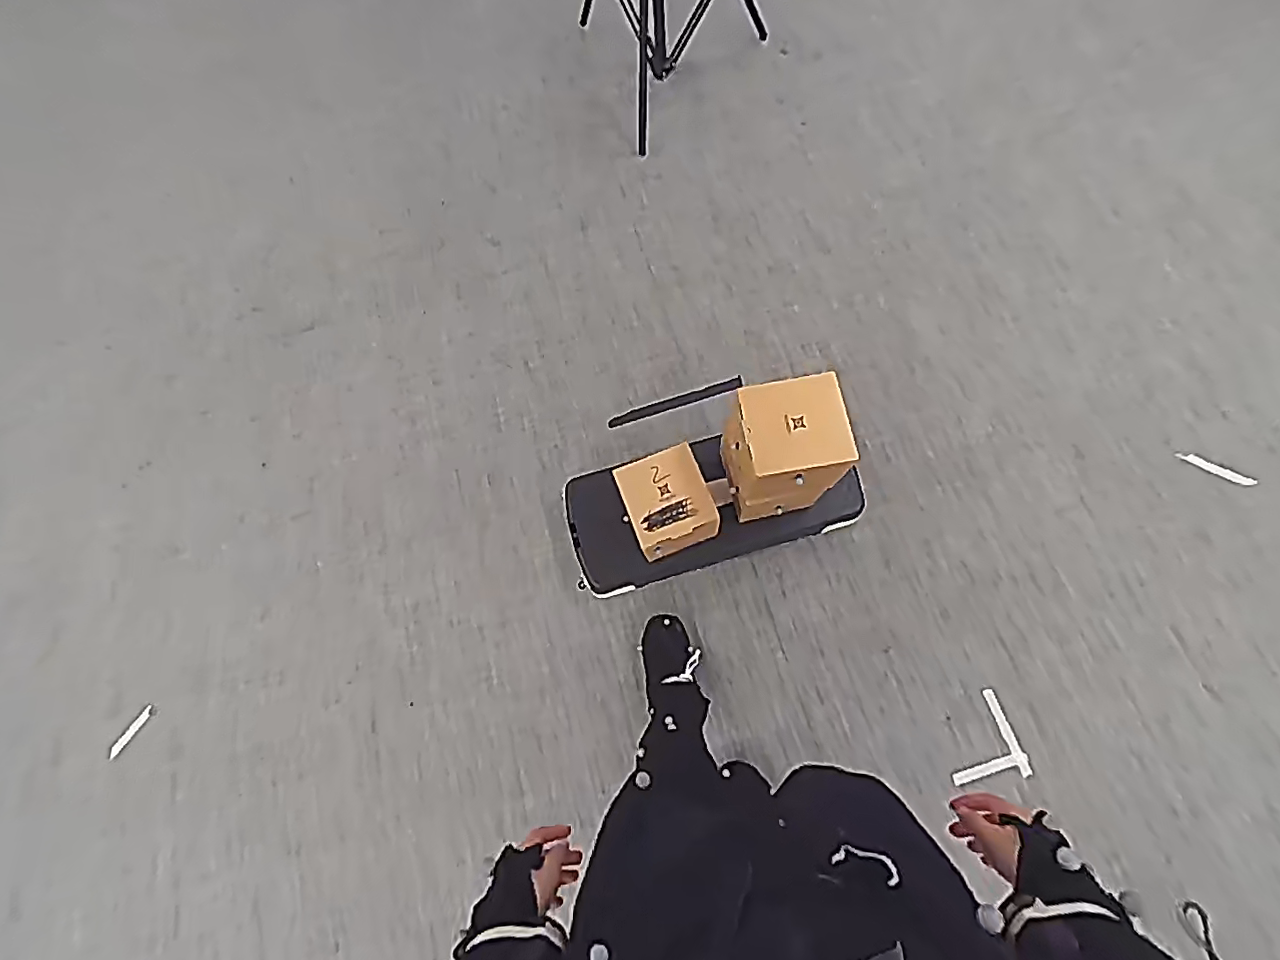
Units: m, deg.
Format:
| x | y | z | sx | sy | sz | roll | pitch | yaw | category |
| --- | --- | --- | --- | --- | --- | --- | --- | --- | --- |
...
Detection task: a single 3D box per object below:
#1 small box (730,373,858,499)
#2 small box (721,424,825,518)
| x | y | z | sx | sy | sz | roll | pitch | yaw | category |
| --- | --- | --- | --- | --- | --- | --- | --- | --- | --- |
| 0.269 | -0.073 | 0.988 | 0.179 | 0.176 | 0.168 | -10 | 74 | 3 | small box |
| 0.272 | -0.024 | 1.144 | 0.168 | 0.176 | 0.179 | -13 | 73 | 1 | small box |
